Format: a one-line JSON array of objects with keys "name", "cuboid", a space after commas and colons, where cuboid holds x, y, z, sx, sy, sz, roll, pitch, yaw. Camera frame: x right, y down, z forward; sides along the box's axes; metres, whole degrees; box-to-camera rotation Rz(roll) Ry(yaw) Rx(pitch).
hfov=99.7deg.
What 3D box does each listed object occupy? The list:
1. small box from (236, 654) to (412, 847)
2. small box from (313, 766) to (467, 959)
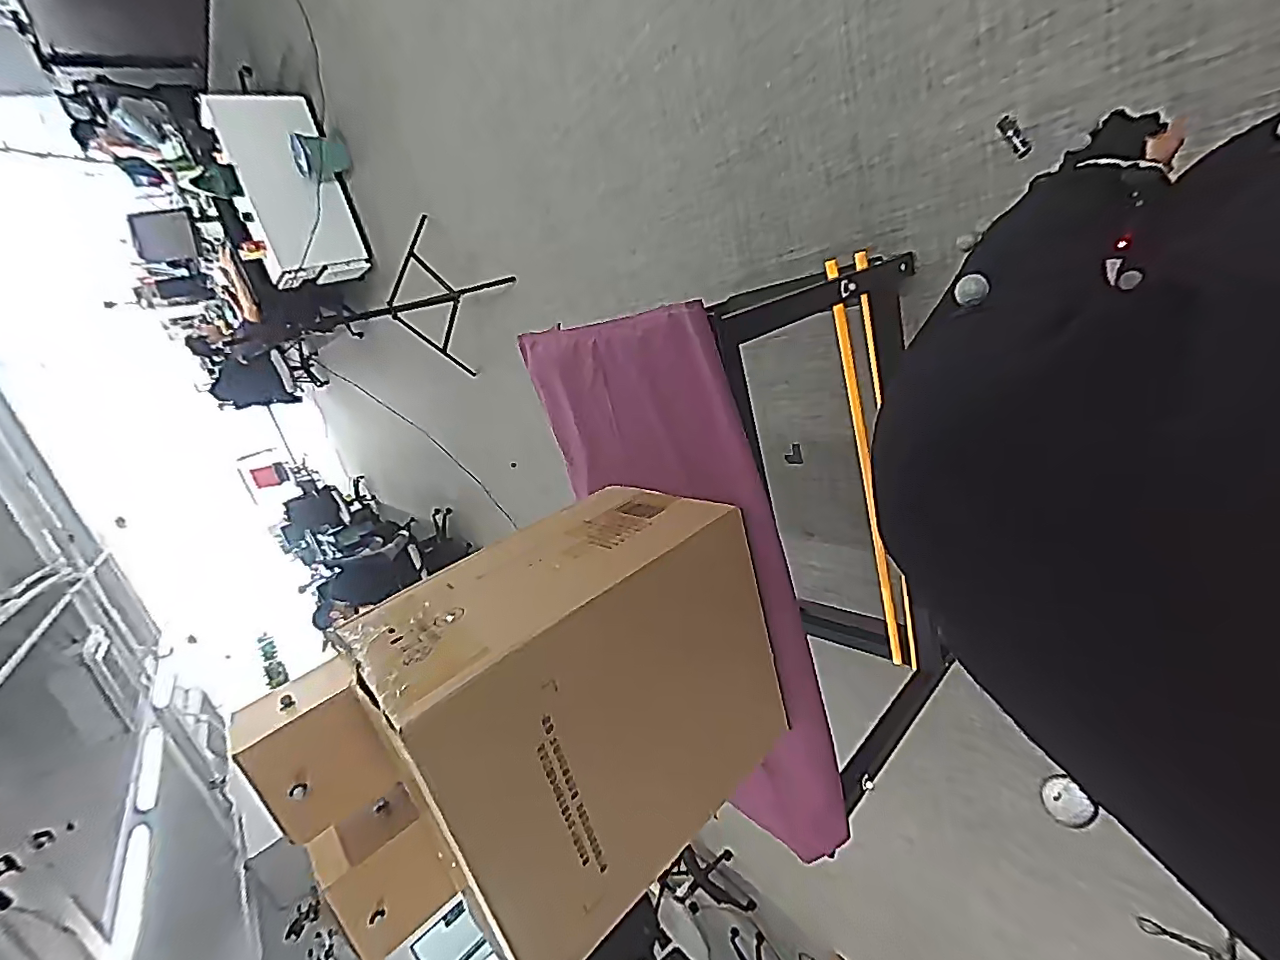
[{"name": "small box", "cuboid": [-0.486, 0.400, 0.837, 0.168, 0.176, 0.179, 0, 115, 53]}, {"name": "small box", "cuboid": [-0.413, 0.625, 0.900, 0.168, 0.176, 0.179, 4, 115, 50]}]
